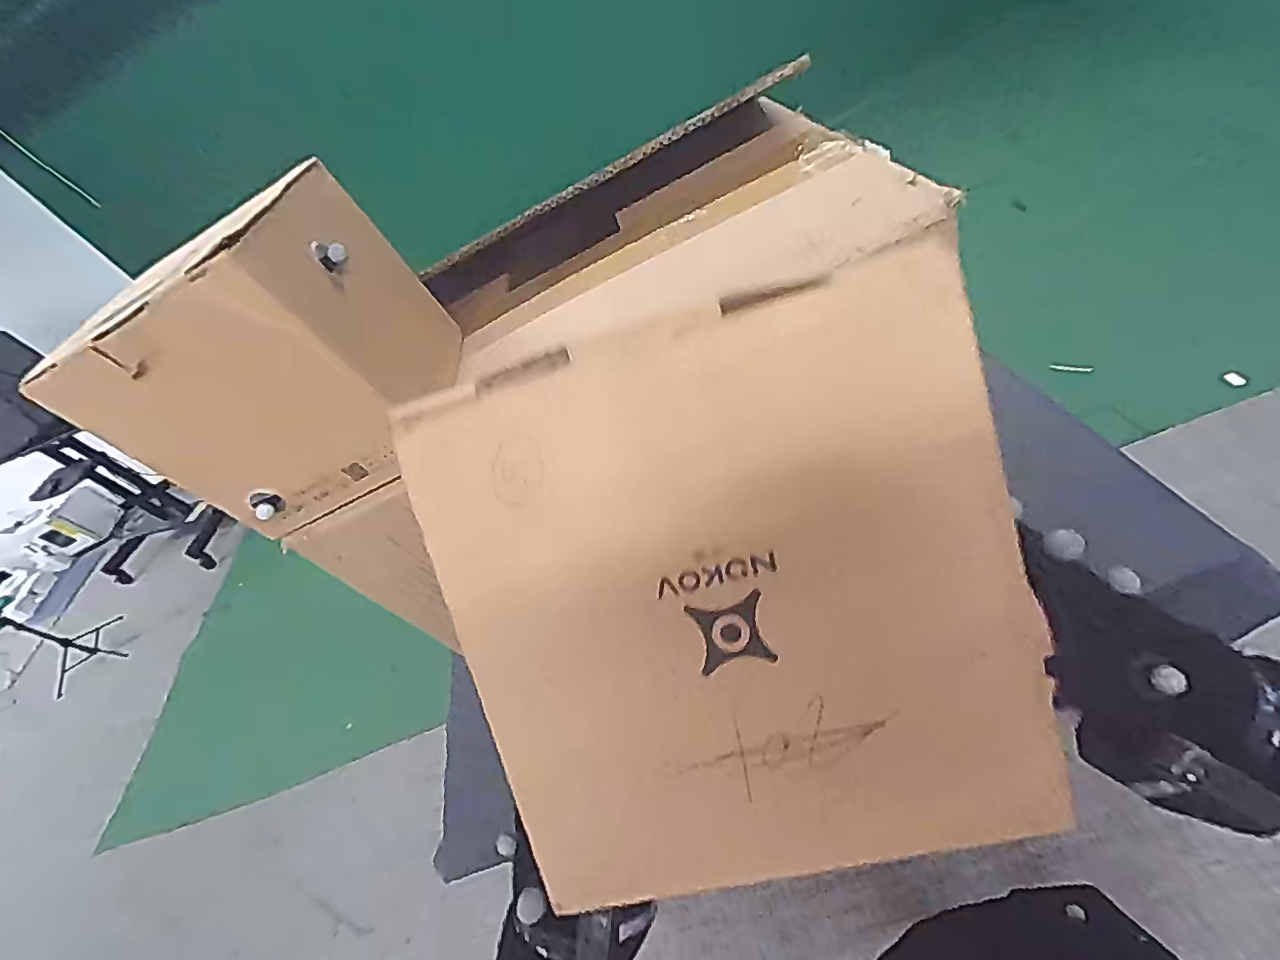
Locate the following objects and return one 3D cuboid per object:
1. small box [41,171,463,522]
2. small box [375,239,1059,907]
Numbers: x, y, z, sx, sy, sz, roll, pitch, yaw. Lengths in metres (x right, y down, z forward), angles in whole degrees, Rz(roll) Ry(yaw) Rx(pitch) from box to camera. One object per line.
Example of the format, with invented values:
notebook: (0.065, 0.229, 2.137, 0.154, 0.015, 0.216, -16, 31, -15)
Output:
small box: (-0.258, -0.090, 0.413, 0.168, 0.176, 0.179, -24, 43, 13)
small box: (0.030, 0.027, 0.237, 0.168, 0.179, 0.176, -16, 9, 9)
